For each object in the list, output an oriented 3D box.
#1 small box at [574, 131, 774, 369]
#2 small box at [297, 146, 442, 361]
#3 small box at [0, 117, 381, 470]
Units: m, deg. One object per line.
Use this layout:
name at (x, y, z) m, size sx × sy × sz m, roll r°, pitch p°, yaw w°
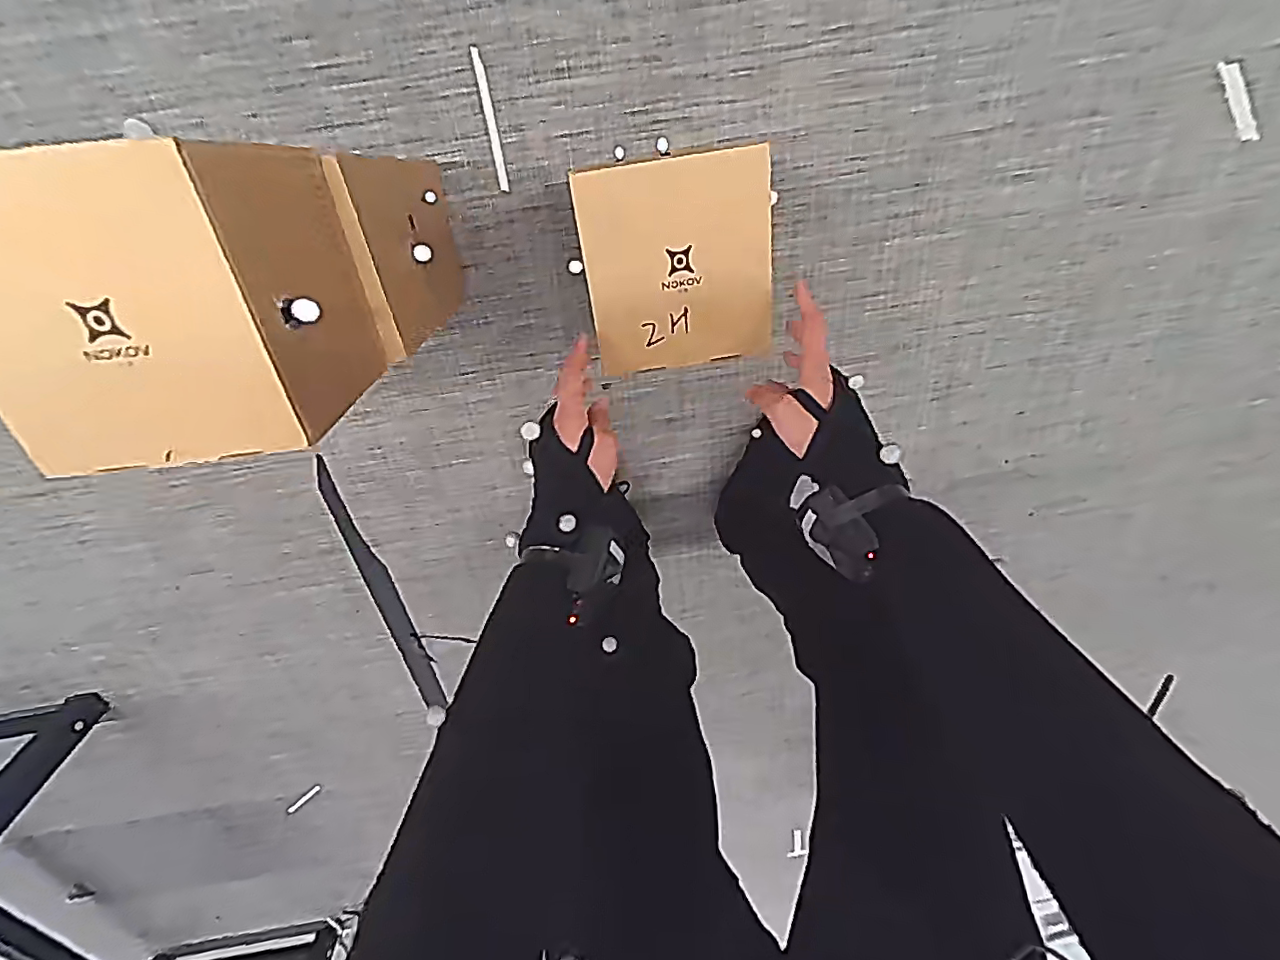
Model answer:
small box at (0.029, -0.230, 0.538) m, size 0.168 × 0.176 × 0.179 m, roll -9°, pitch 121°, yaw 0°
small box at (-0.310, -0.208, 0.512) m, size 0.179 × 0.176 × 0.168 m, roll -9°, pitch 121°, yaw -2°
small box at (-0.305, -0.130, 0.369) m, size 0.168 × 0.176 × 0.179 m, roll -7°, pitch 121°, yaw -3°
